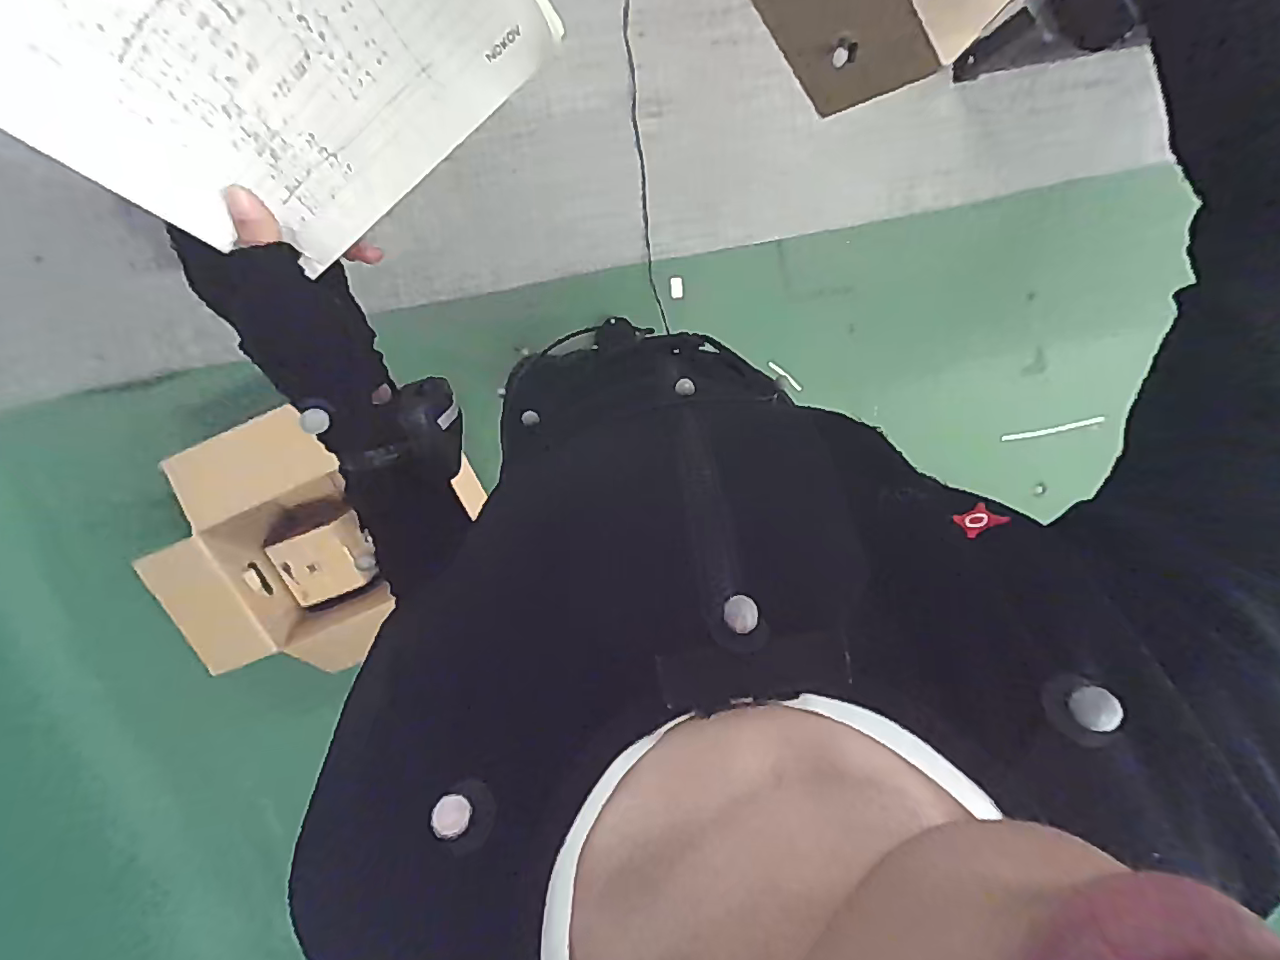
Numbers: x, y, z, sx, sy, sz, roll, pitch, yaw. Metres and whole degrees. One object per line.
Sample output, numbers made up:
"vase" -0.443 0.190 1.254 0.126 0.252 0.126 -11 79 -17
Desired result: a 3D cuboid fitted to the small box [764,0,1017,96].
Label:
"small box" 0.192 -0.415 0.384 0.168 0.176 0.179 -43 115 8
